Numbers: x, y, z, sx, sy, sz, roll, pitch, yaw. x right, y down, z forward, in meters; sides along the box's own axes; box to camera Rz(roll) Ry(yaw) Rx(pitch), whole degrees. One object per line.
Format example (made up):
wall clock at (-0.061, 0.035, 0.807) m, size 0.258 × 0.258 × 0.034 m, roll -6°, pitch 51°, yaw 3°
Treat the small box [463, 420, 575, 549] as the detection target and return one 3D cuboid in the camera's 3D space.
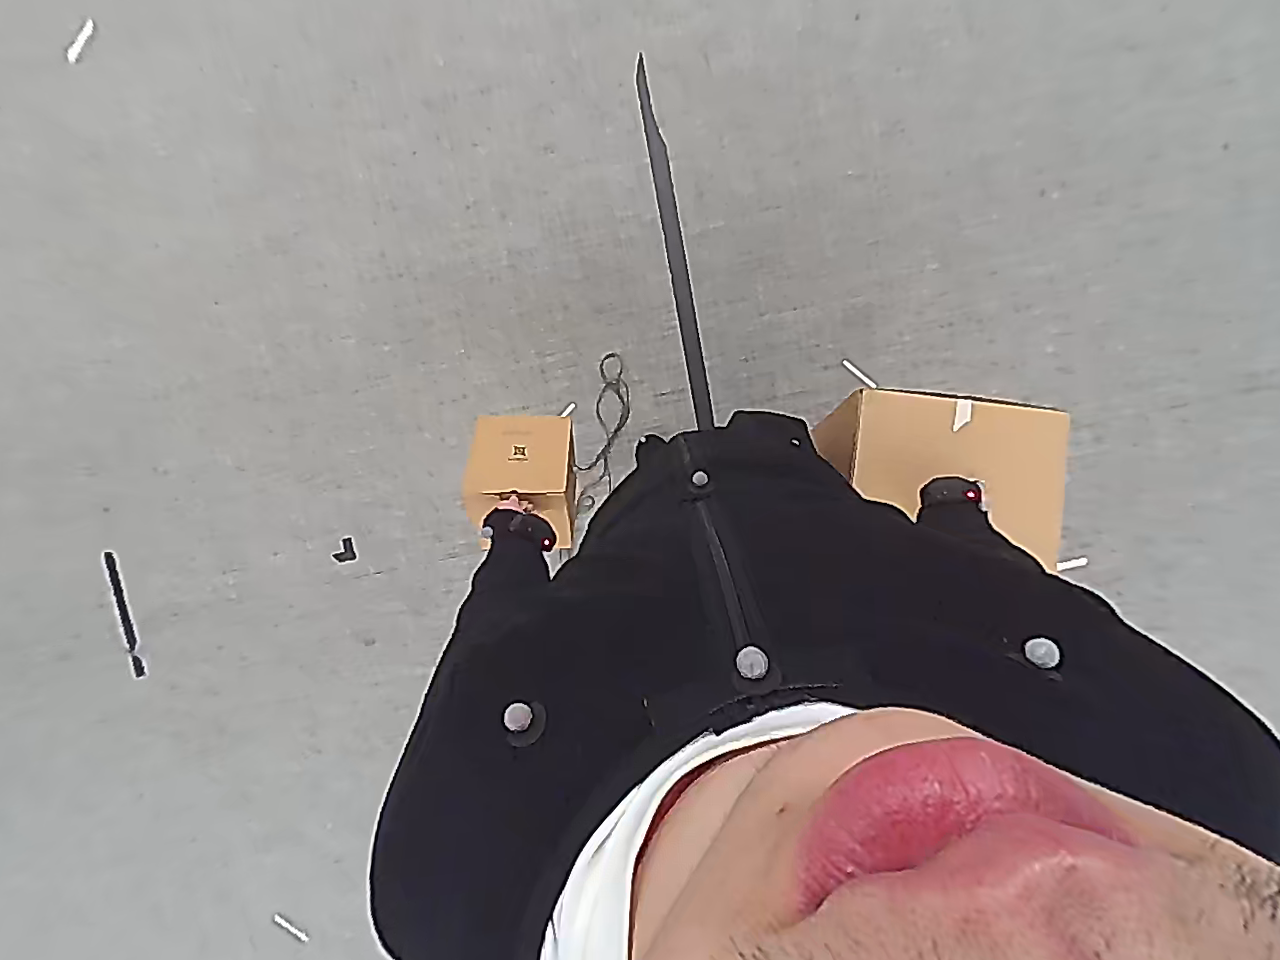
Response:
small box at (-0.206, 0.011, 0.974) m, size 0.168 × 0.179 × 0.176 m, roll 0°, pitch 141°, yaw -4°
